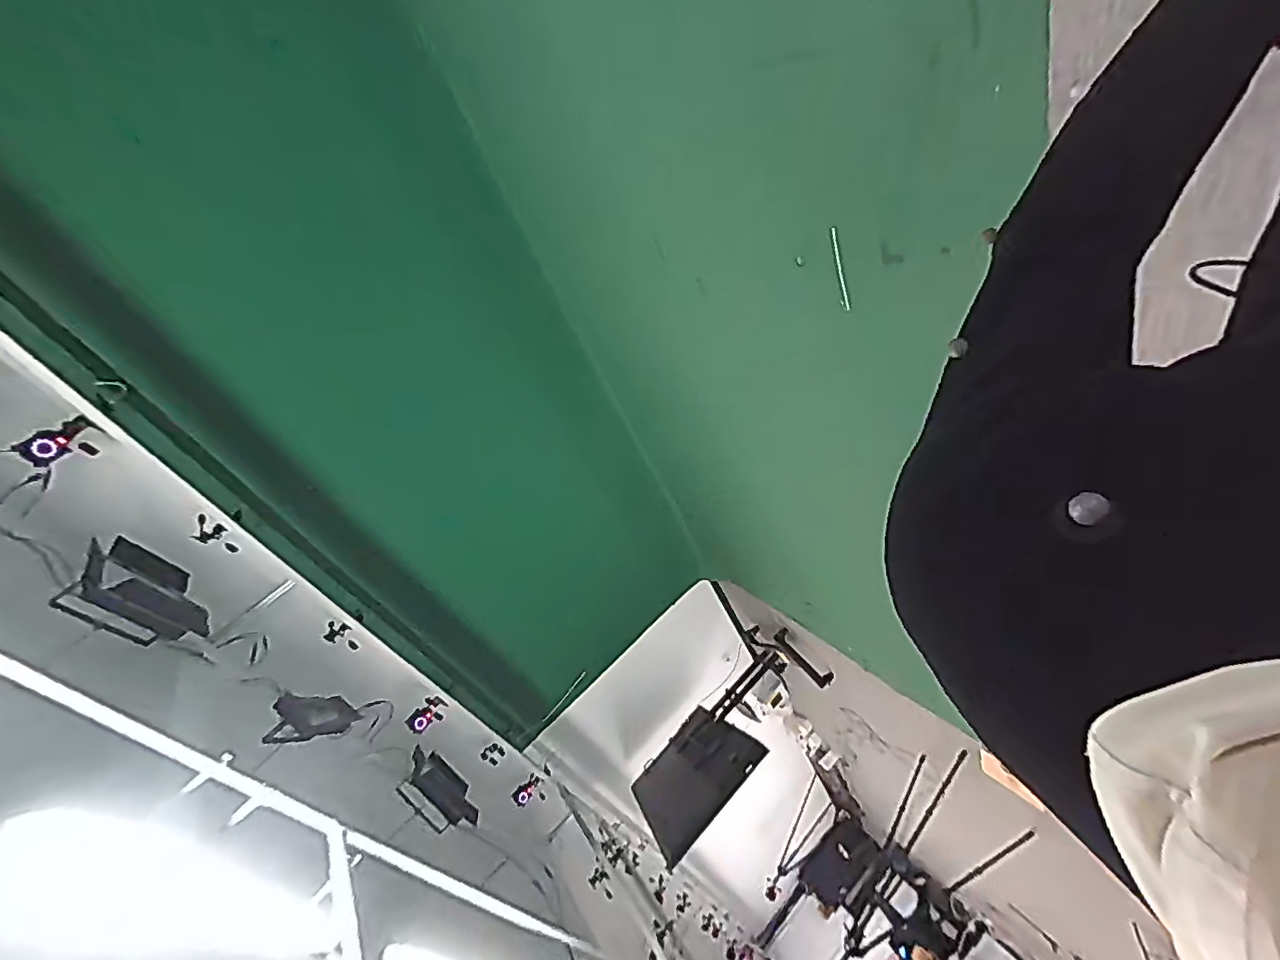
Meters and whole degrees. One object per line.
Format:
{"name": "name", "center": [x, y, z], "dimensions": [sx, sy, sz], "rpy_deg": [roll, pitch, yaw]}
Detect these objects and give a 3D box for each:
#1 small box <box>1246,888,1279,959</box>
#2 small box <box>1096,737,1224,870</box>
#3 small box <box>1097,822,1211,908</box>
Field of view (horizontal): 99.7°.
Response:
{"name": "small box", "center": [1.477, 1.019, 1.169], "dimensions": [0.168, 0.176, 0.179], "rpy_deg": [27, 153, 52]}
{"name": "small box", "center": [1.201, 0.744, 1.254], "dimensions": [0.168, 0.176, 0.179], "rpy_deg": [26, 153, 52]}
{"name": "small box", "center": [1.319, 0.937, 1.391], "dimensions": [0.168, 0.176, 0.179], "rpy_deg": [25, 150, 52]}
